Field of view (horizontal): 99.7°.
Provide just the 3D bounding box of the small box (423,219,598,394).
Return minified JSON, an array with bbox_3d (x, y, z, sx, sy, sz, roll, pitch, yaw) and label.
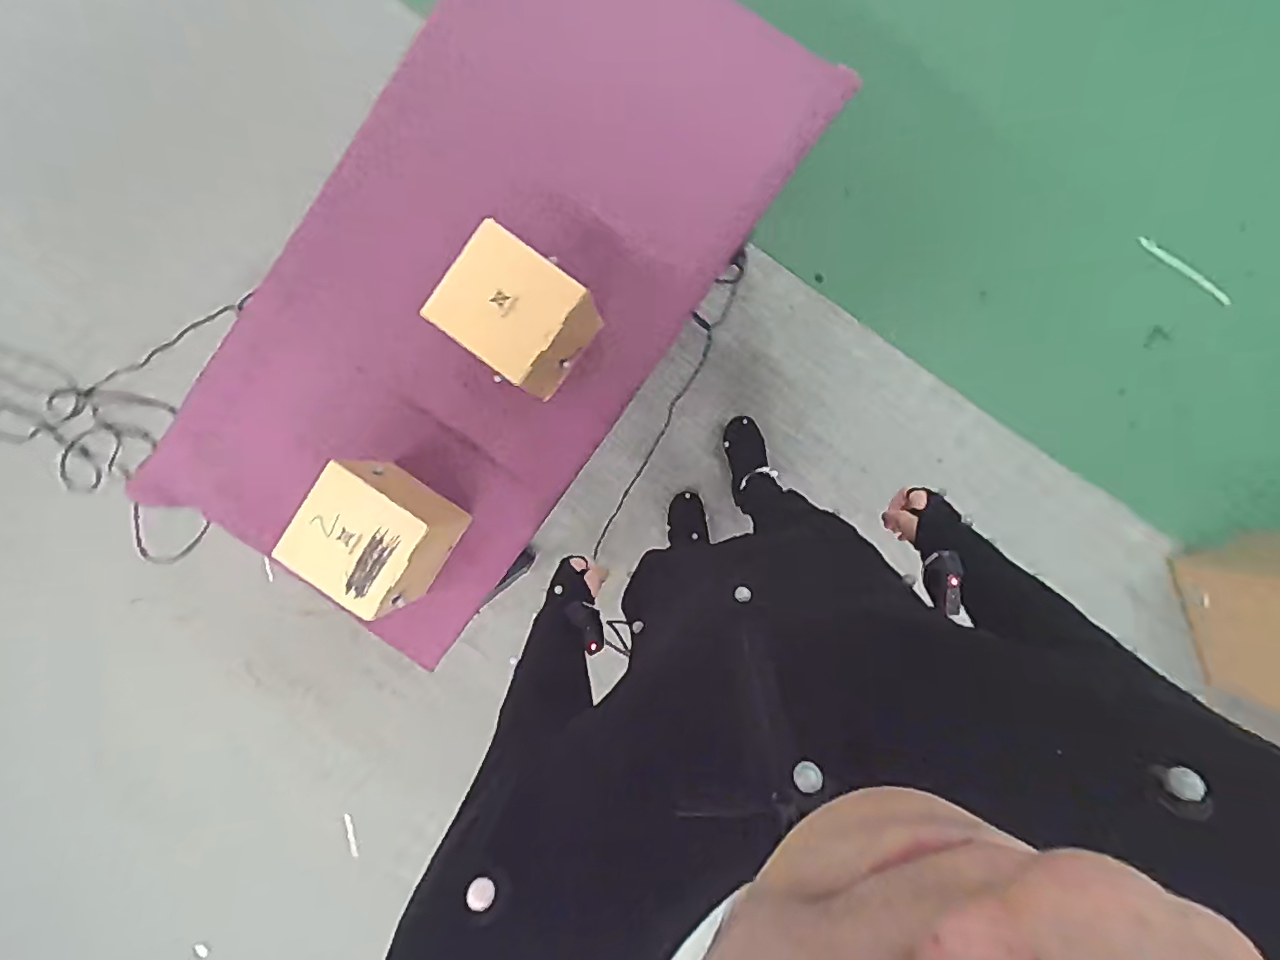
[{"bbox_3d":[-0.185,-0.249,0.827,0.179,0.176,0.168,36,92,1],"label":"small box"}]
